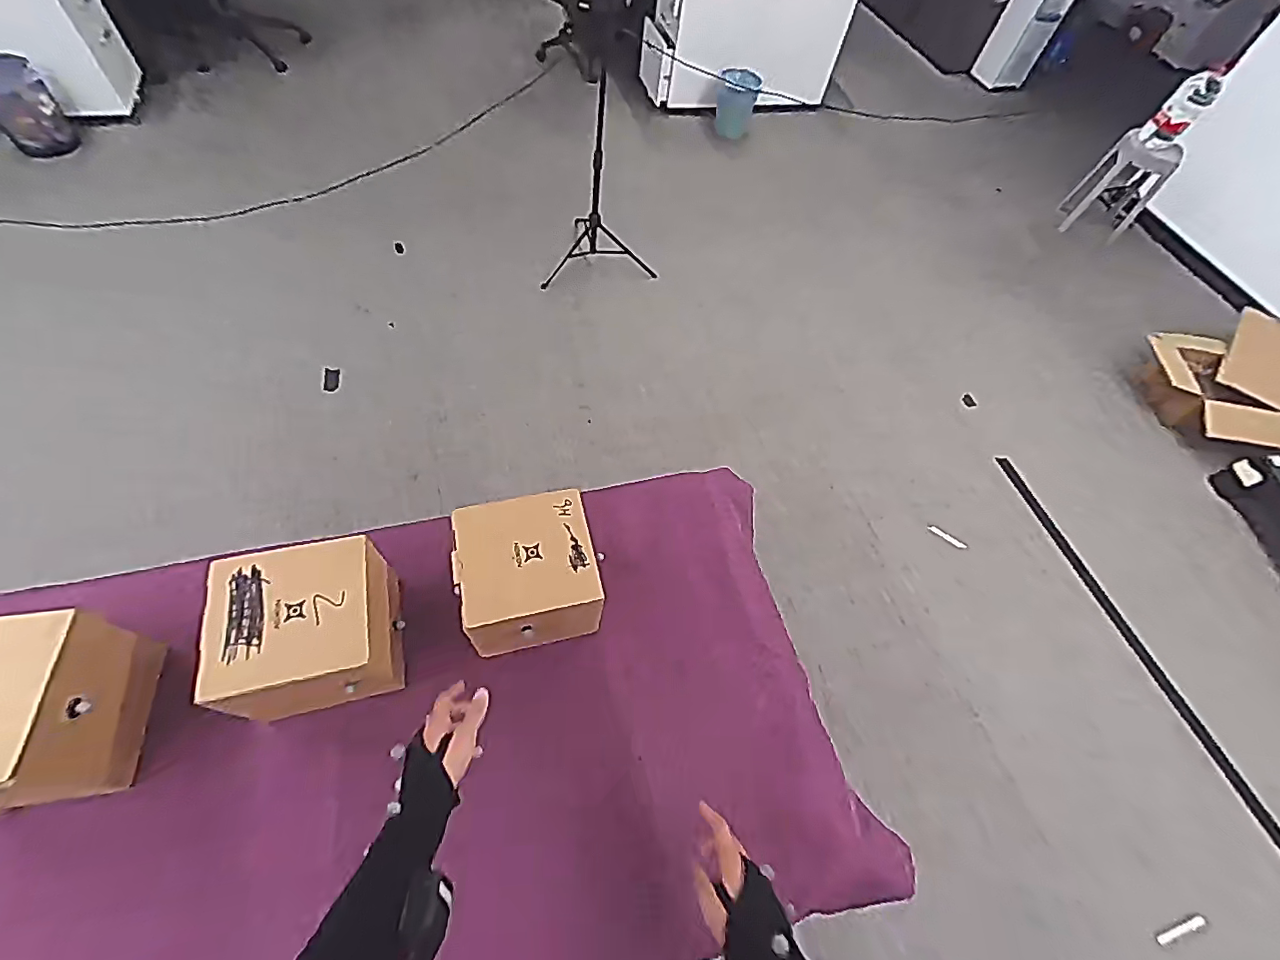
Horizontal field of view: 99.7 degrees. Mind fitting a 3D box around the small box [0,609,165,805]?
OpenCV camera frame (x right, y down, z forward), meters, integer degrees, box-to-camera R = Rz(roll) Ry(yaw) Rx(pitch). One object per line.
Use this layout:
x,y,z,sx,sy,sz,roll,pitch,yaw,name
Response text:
-0.697,0.264,0.614,0.168,0.176,0.179,-4,60,-11,small box
